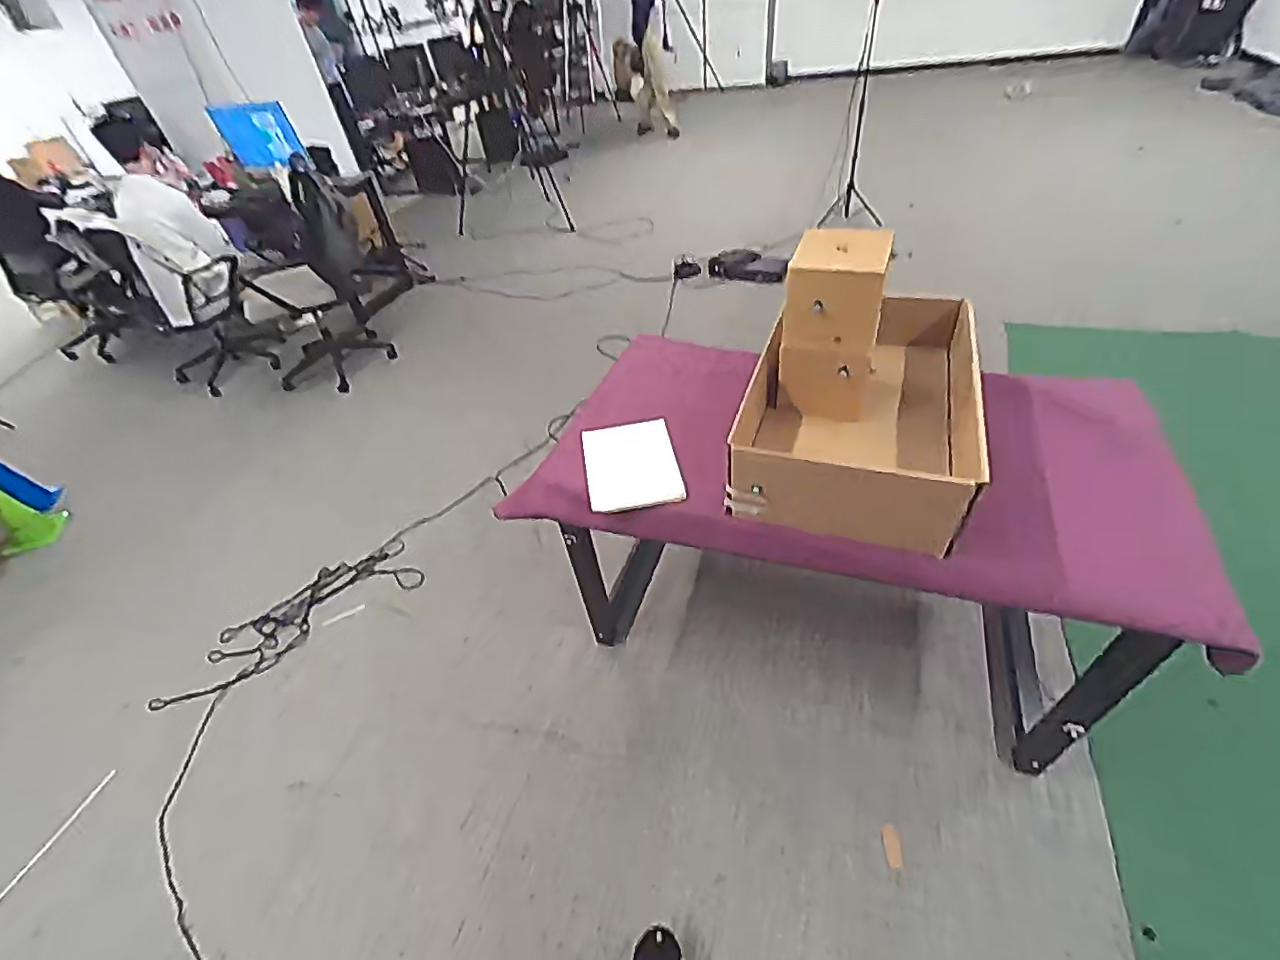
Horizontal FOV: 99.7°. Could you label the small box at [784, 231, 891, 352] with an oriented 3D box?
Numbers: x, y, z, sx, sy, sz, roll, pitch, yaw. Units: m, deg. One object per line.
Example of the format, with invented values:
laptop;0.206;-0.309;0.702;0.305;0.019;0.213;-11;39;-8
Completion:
small box;0.380;-0.367;1.053;0.168;0.176;0.179;11;48;21
